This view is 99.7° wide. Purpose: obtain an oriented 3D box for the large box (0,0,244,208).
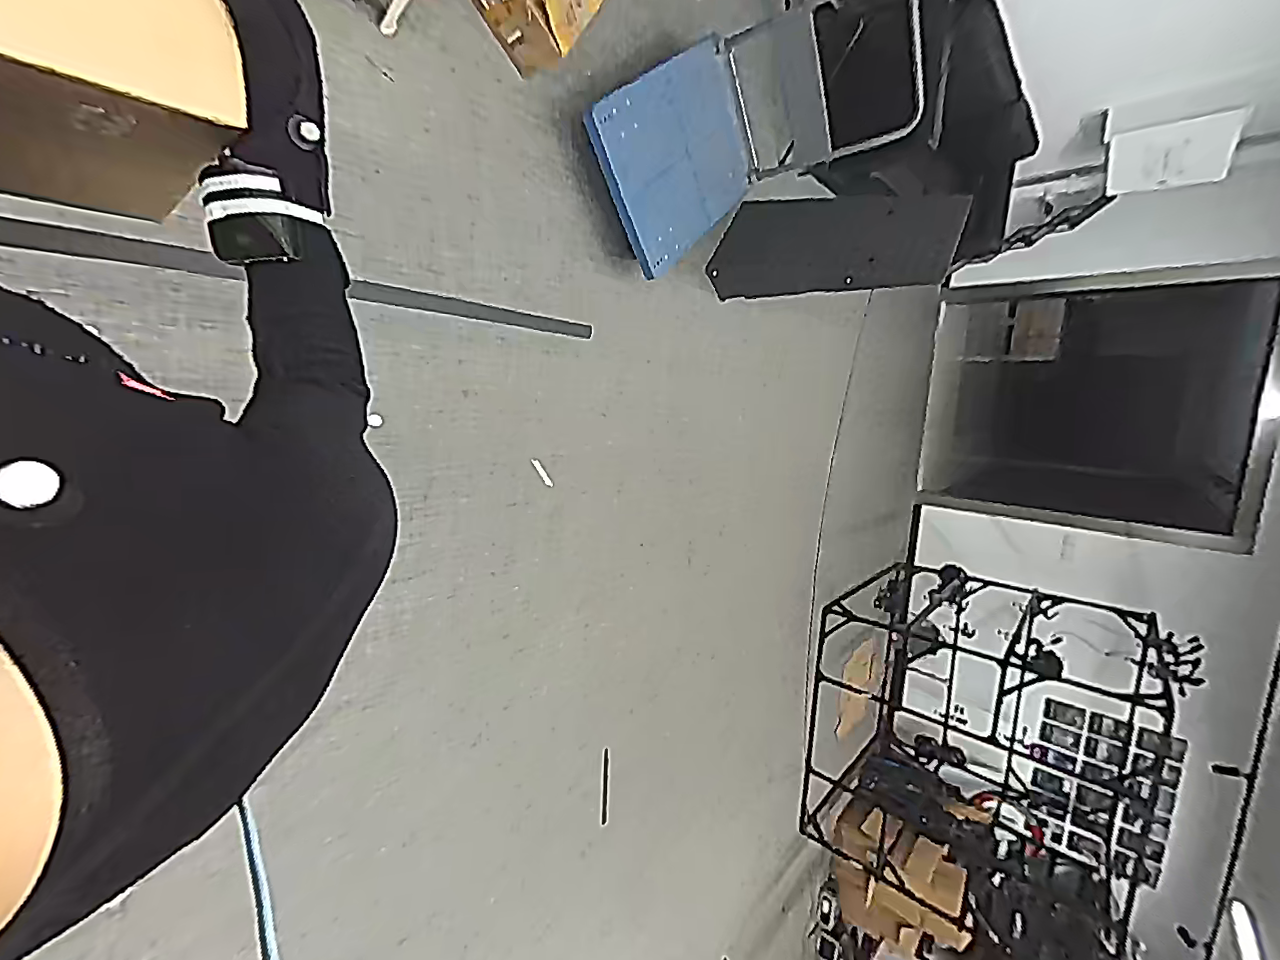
[{"bbox_3d":[-0.530,-0.400,0.312,0.408,0.320,0.320,-10,103,-49],"label":"large box"}]
